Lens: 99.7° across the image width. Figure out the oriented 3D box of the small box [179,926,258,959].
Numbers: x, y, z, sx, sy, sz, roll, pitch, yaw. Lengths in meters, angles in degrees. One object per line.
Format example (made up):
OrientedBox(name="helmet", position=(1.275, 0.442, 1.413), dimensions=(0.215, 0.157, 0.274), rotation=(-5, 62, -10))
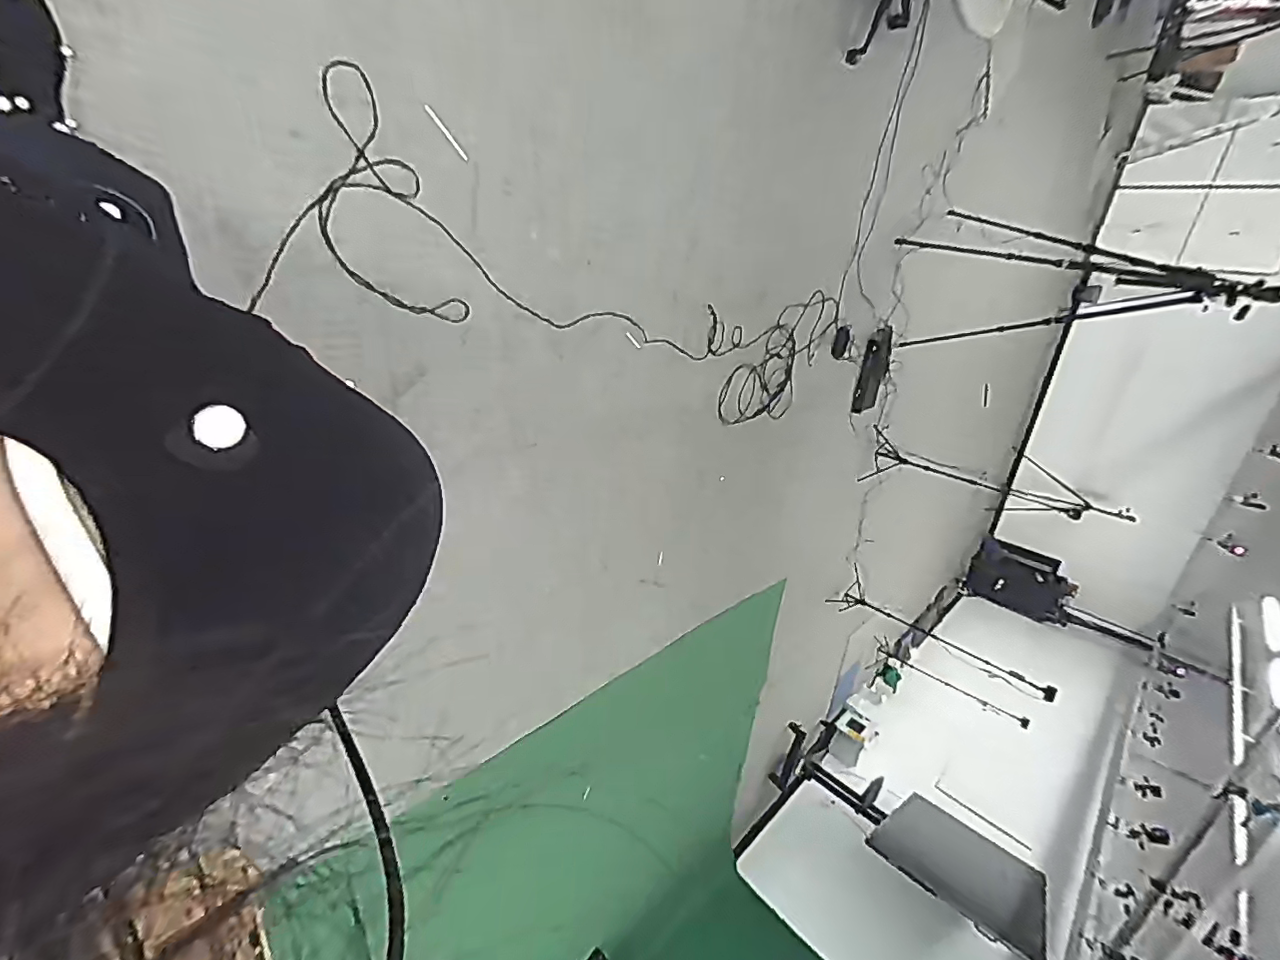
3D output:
OrientedBox(name="small box", position=(-1.069, 1.293, 1.369), dimensions=(0.168, 0.176, 0.179), rotation=(-13, 118, -44))
